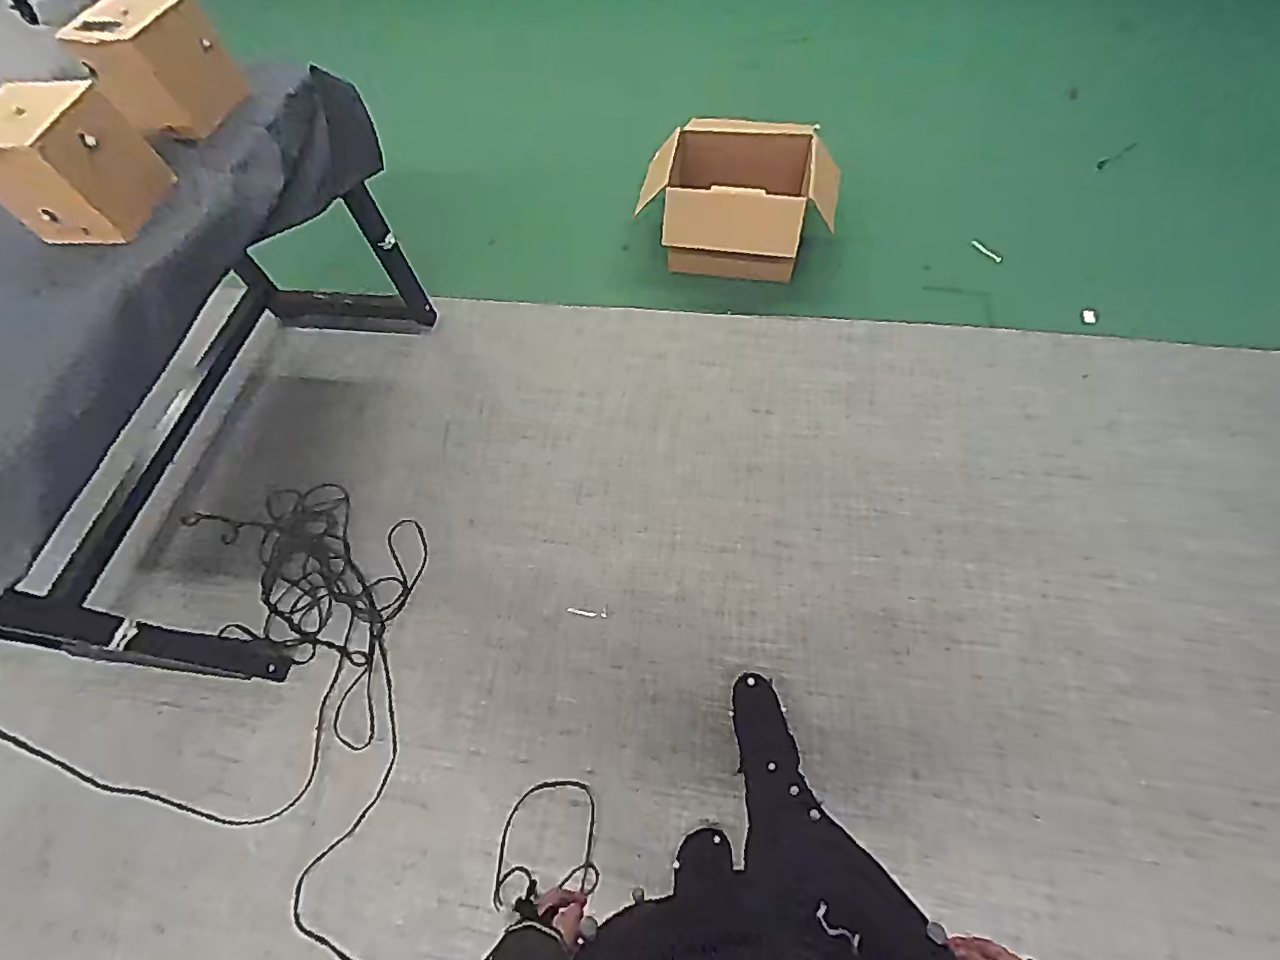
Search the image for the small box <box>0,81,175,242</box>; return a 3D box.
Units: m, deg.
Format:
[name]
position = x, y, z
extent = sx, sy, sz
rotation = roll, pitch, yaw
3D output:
[small box]
position = -0.939, -0.526, 0.899
extent = 0.168, 0.176, 0.179
rotation = 3, 63, 6
